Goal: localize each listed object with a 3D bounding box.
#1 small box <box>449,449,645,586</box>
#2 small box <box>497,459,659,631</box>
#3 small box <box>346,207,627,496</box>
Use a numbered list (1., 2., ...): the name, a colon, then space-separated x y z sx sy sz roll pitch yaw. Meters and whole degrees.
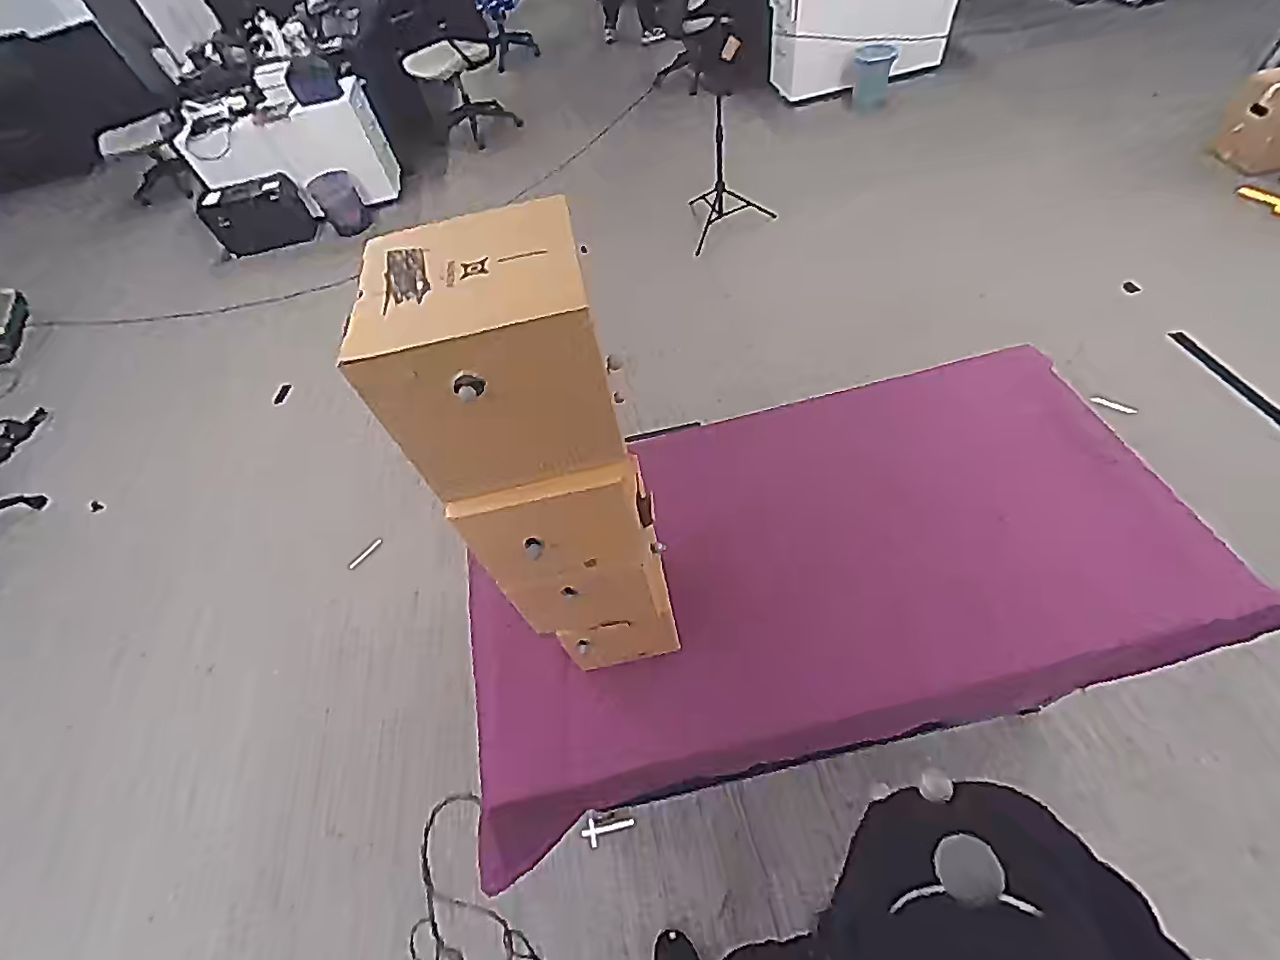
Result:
1. small box: -0.095 0.003 0.601 0.168 0.176 0.179 -13 52 1
2. small box: -0.074 0.095 0.734 0.179 0.176 0.168 -7 54 4
3. small box: -0.120 -0.106 0.480 0.179 0.176 0.168 -13 53 0
